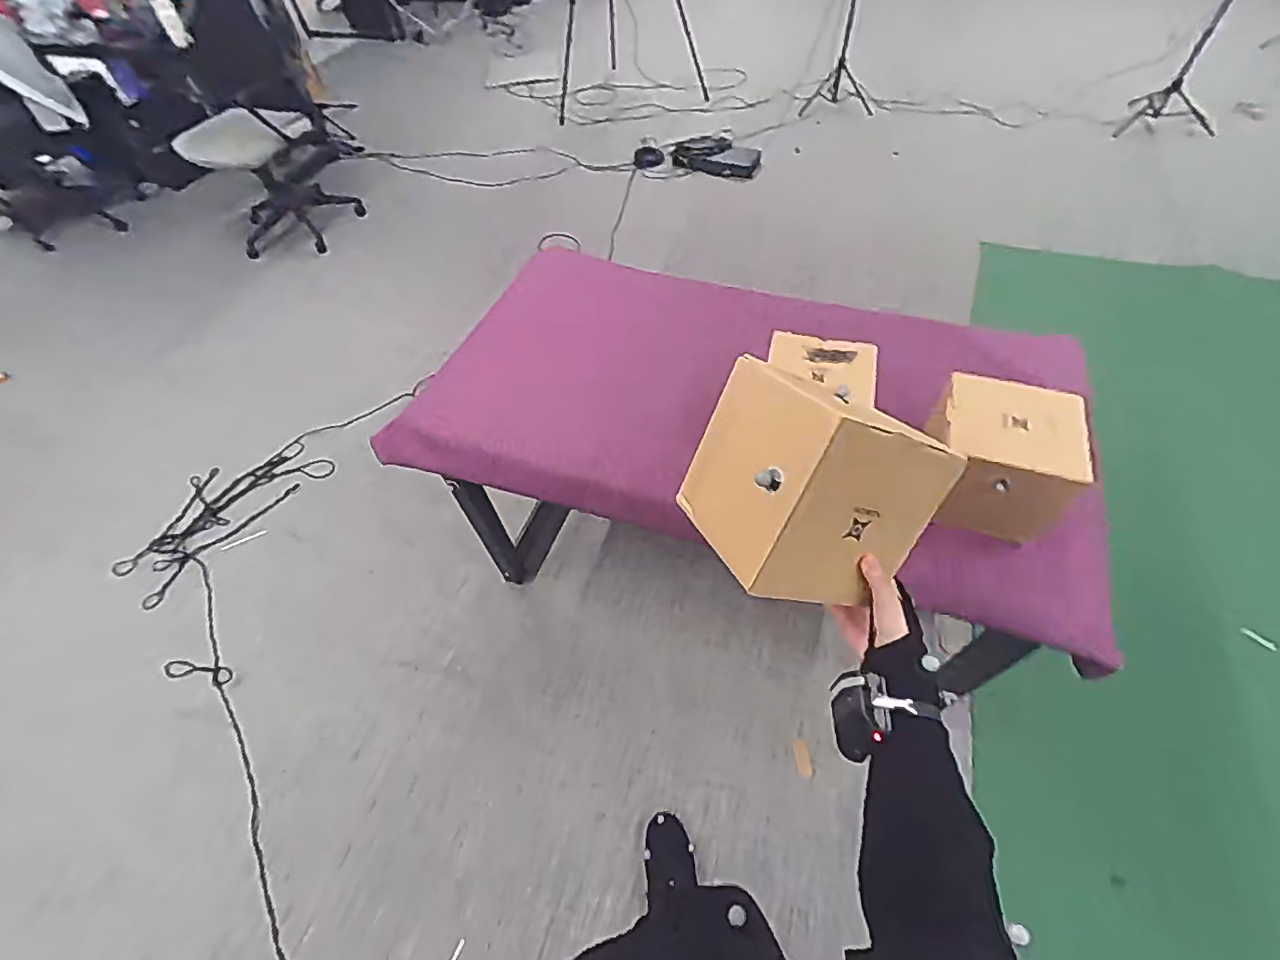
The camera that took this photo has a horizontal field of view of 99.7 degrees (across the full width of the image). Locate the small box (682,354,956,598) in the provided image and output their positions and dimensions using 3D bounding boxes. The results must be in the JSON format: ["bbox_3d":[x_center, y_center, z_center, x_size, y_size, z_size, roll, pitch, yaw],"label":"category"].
[{"bbox_3d":[0.162,-0.007,0.553,0.168,0.179,0.176,12,21,-27],"label":"small box"}]

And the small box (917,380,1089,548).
[{"bbox_3d":[0.526,-0.021,0.816,0.179,0.176,0.168,17,55,15],"label":"small box"}]

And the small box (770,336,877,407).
[{"bbox_3d":[0.281,-0.108,0.897,0.168,0.176,0.179,12,56,13],"label":"small box"}]
